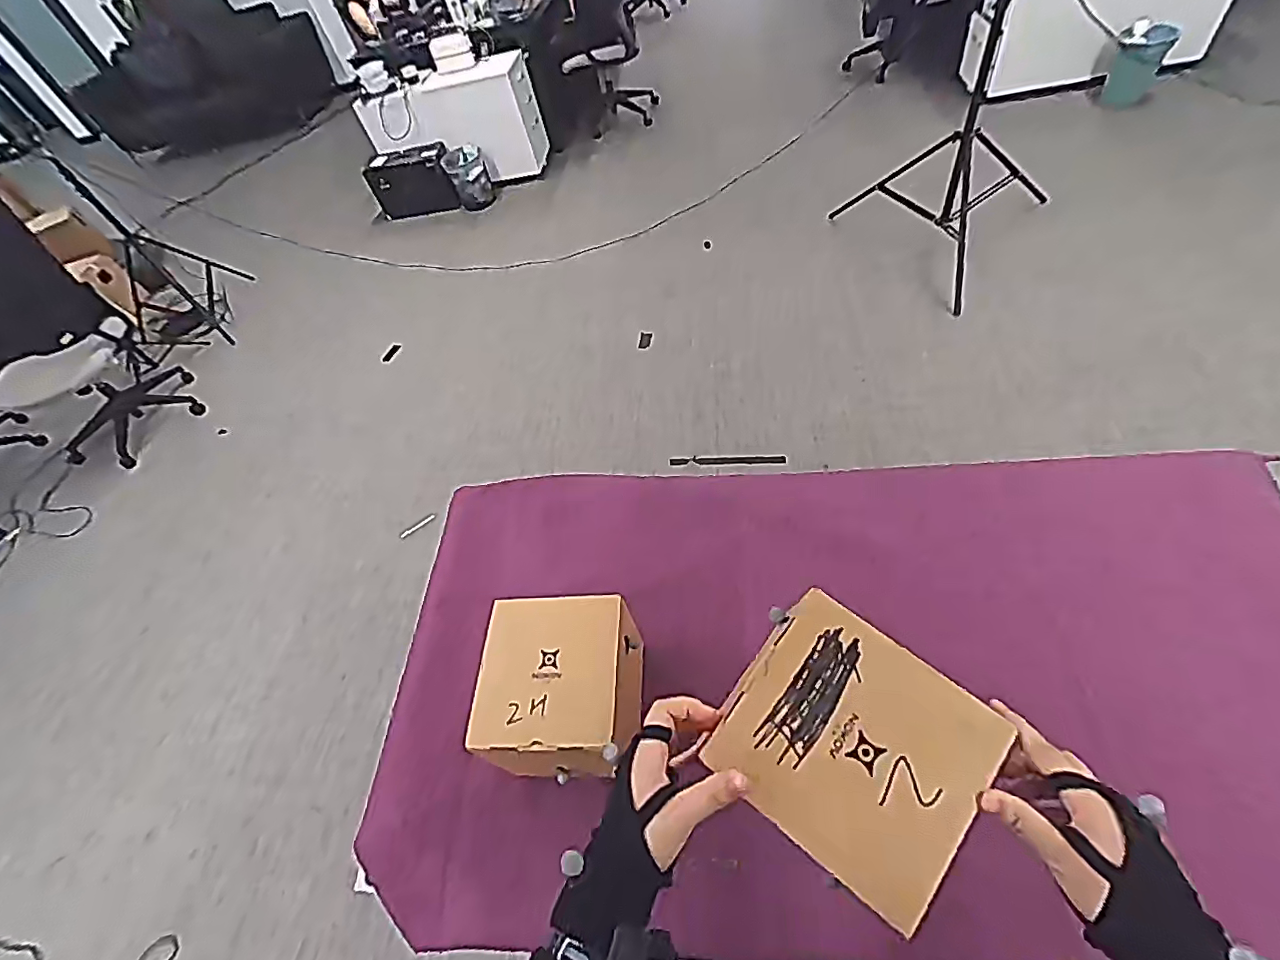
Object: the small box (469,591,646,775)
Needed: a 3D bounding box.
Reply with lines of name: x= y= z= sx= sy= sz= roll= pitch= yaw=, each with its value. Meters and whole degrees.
small box: x=-0.088 y=0.257 z=0.680 sx=0.168 sy=0.176 sz=0.179 roll=-5 pitch=53 yaw=9
